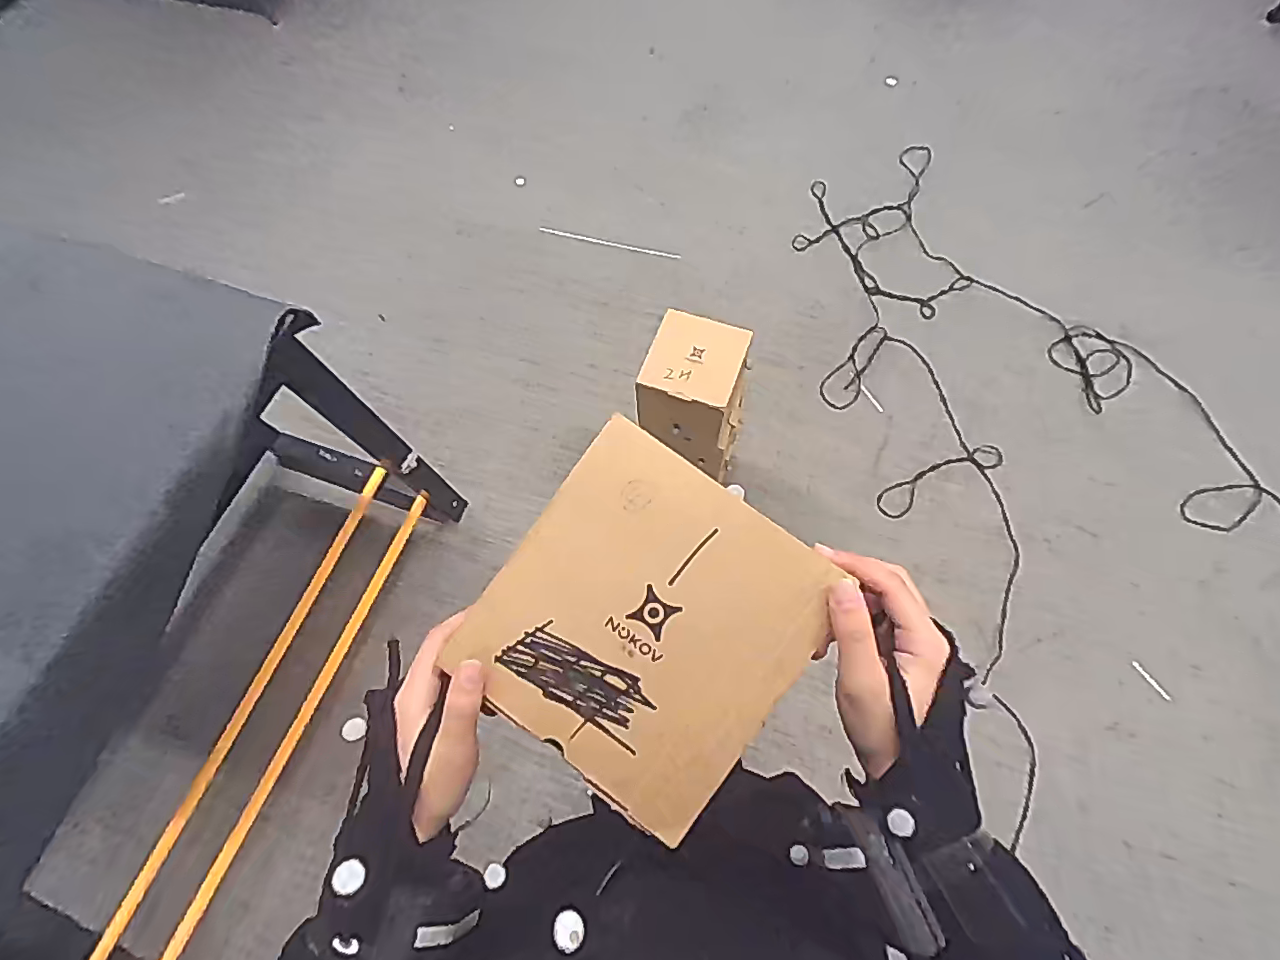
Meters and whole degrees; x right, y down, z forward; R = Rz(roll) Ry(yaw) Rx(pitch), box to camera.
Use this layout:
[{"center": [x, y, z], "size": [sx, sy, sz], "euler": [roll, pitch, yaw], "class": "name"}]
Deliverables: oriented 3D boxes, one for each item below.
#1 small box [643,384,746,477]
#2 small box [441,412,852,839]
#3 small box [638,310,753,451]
[{"center": [0.117, -0.118, 1.180], "size": [0.179, 0.176, 0.168], "euler": [17, 69, 11], "class": "small box"}, {"center": [0.007, 0.083, 0.376], "size": [0.168, 0.176, 0.179], "euler": [36, 88, 5], "class": "small box"}, {"center": [0.102, -0.184, 1.030], "size": [0.168, 0.176, 0.179], "euler": [18, 69, 10], "class": "small box"}]
